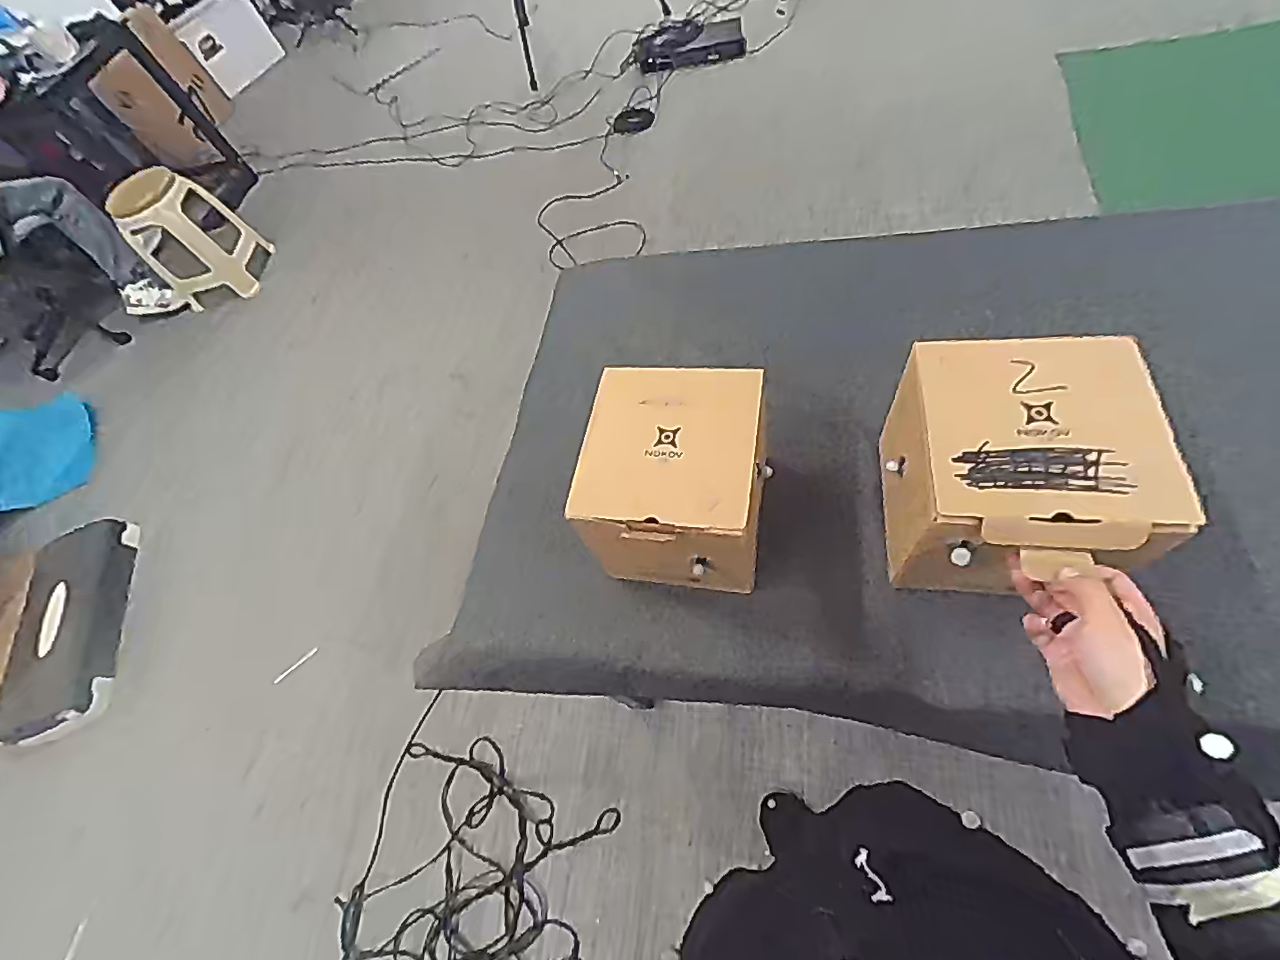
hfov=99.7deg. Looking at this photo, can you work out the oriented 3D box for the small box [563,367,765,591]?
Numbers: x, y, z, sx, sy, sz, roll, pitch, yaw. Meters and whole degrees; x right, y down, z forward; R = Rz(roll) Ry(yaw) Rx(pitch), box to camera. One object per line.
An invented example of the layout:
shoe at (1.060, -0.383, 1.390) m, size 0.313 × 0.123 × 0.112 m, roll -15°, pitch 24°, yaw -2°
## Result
small box at (0.040, 0.004, 0.564) m, size 0.168 × 0.176 × 0.179 m, roll 4°, pitch 61°, yaw 15°
